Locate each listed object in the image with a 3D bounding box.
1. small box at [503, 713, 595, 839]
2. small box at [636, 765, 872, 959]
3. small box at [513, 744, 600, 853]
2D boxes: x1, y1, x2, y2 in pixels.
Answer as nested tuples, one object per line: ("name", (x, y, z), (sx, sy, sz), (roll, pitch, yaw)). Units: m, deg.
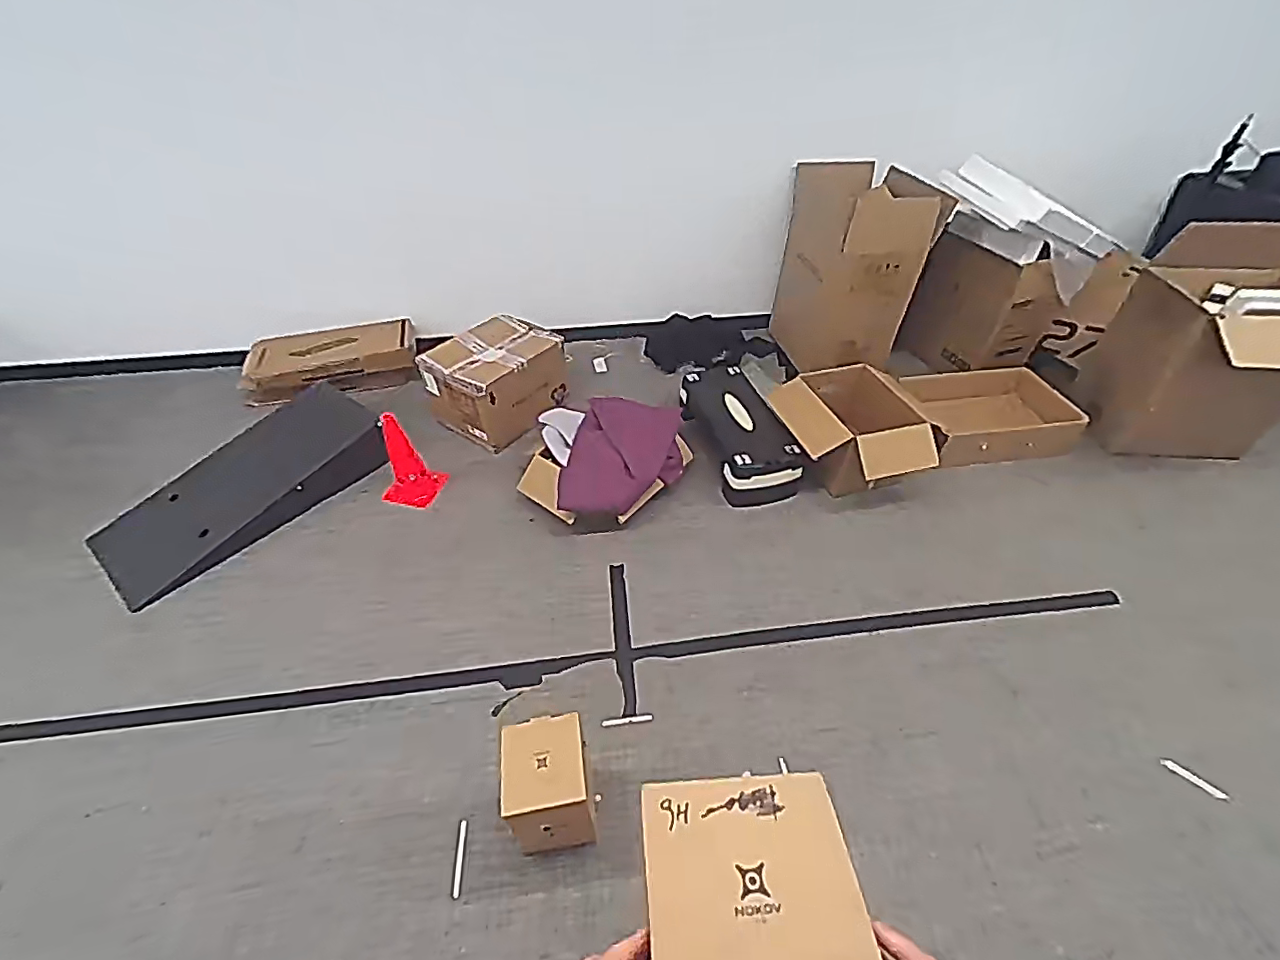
("small box", (-0.192, 0.630, 1.151), (0.168, 0.176, 0.179), (-9, 45, -6))
("small box", (0.085, 0.379, 0.470), (0.168, 0.176, 0.179), (-3, 38, -2))
("small box", (-0.193, 0.747, 1.264), (0.179, 0.176, 0.168), (-6, 44, -6))
